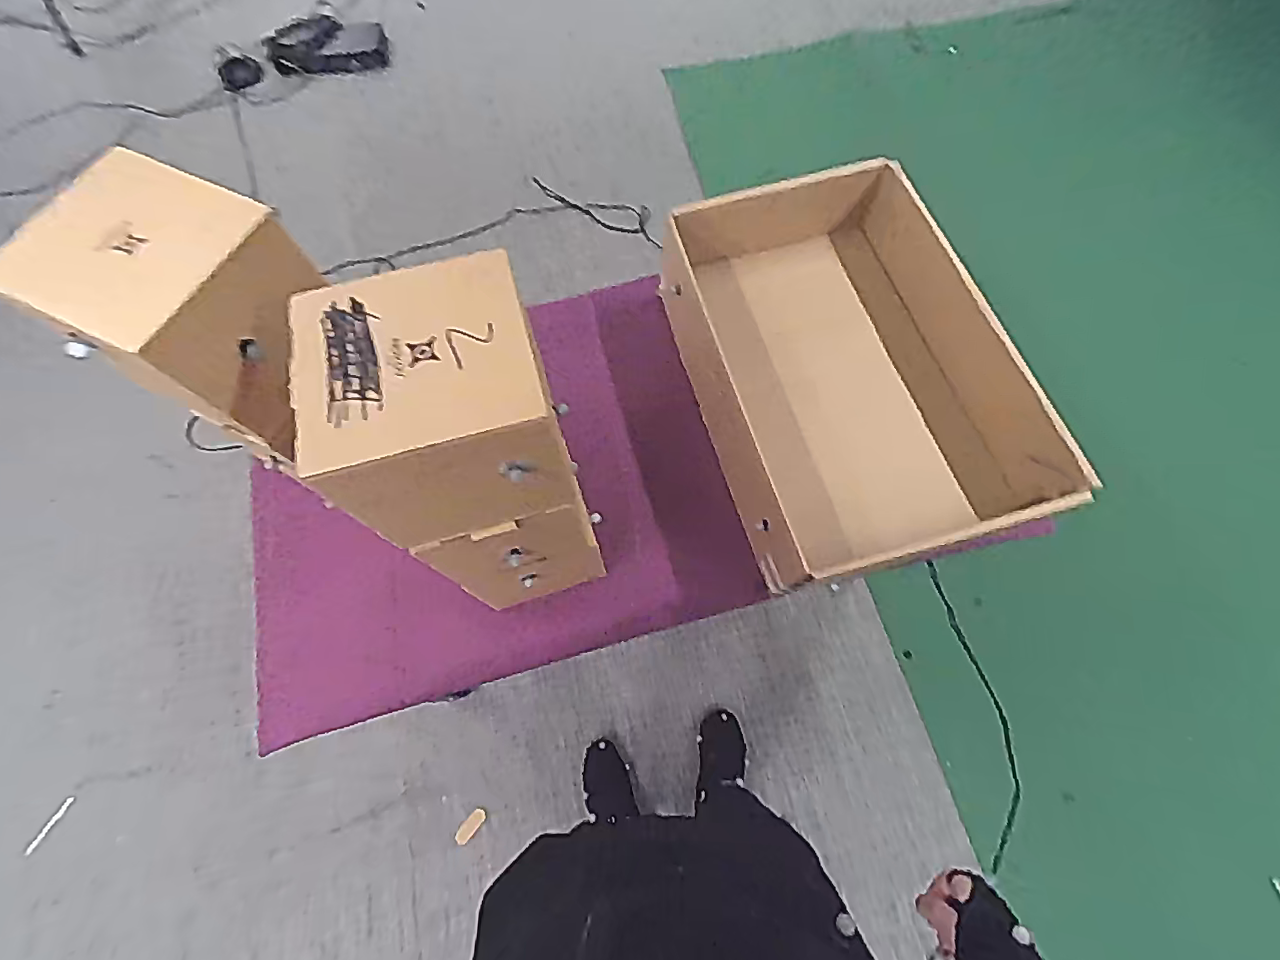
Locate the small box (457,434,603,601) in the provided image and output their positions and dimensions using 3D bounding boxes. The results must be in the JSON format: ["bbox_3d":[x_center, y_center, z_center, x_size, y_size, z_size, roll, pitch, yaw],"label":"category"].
[{"bbox_3d":[-0.162,0.063,0.777,0.179,0.176,0.168,-17,69,-6],"label":"small box"}]

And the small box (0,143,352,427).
[{"bbox_3d":[-0.425,-0.172,0.522,0.179,0.176,0.168,23,72,8],"label":"small box"}]

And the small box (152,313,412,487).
[{"bbox_3d":[-0.420,-0.114,0.673,0.168,0.176,0.179,25,71,8],"label":"small box"}]

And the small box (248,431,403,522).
[{"bbox_3d":[-0.424,-0.051,0.823,0.179,0.176,0.168,25,71,9],"label":"small box"}]

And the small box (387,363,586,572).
[{"bbox_3d":[-0.166,-0.001,0.627,0.168,0.176,0.179,-16,69,-6],"label":"small box"}]
